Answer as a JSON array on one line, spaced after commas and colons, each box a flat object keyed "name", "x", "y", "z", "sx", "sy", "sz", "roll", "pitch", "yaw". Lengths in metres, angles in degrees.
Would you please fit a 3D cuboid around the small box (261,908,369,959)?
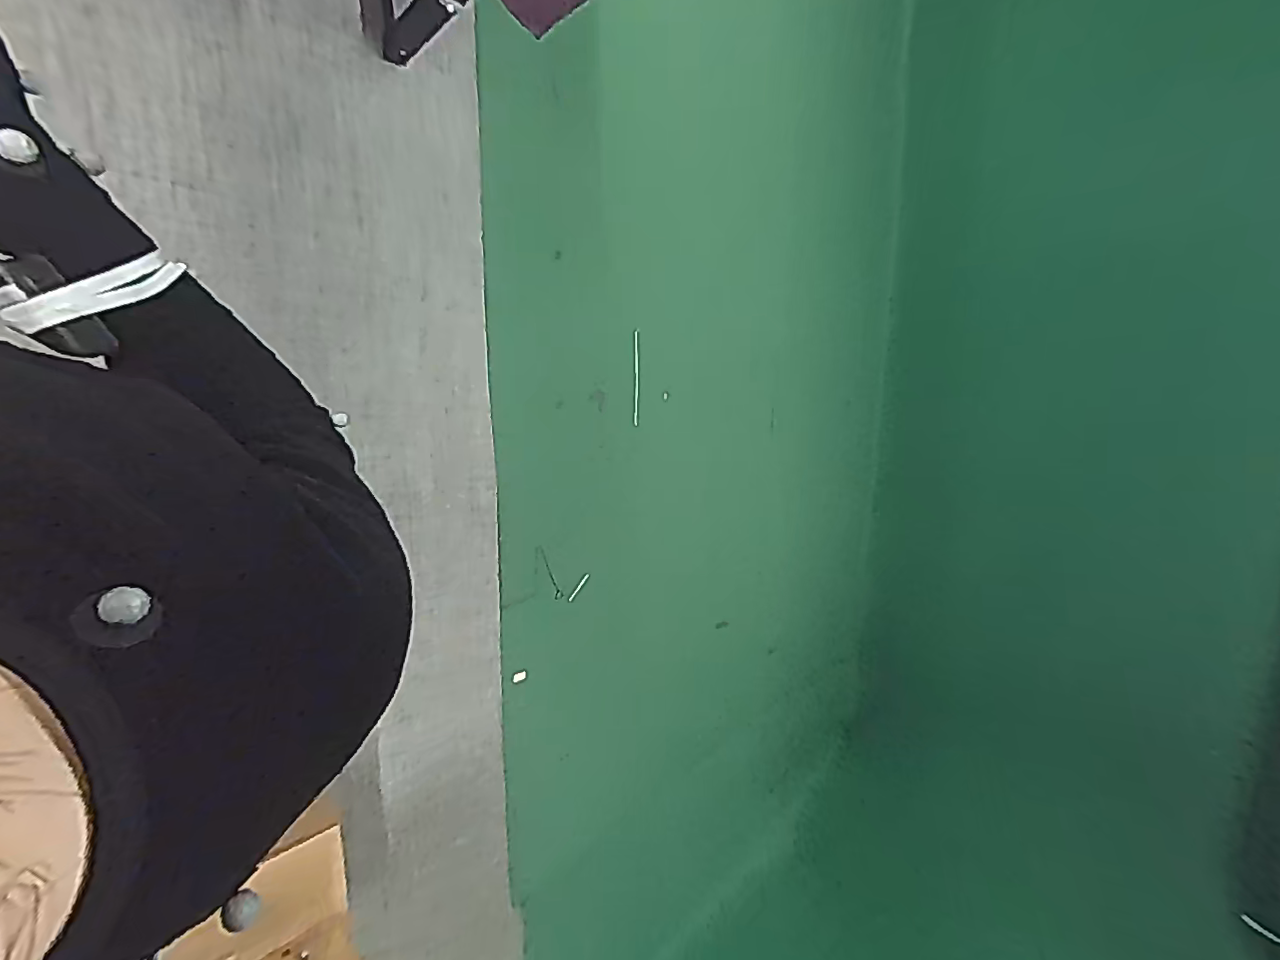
[{"name": "small box", "x": -0.693, "y": 1.089, "z": 1.160, "sx": 0.168, "sy": 0.176, "sz": 0.179, "roll": -10, "pitch": 108, "yaw": -46}]
